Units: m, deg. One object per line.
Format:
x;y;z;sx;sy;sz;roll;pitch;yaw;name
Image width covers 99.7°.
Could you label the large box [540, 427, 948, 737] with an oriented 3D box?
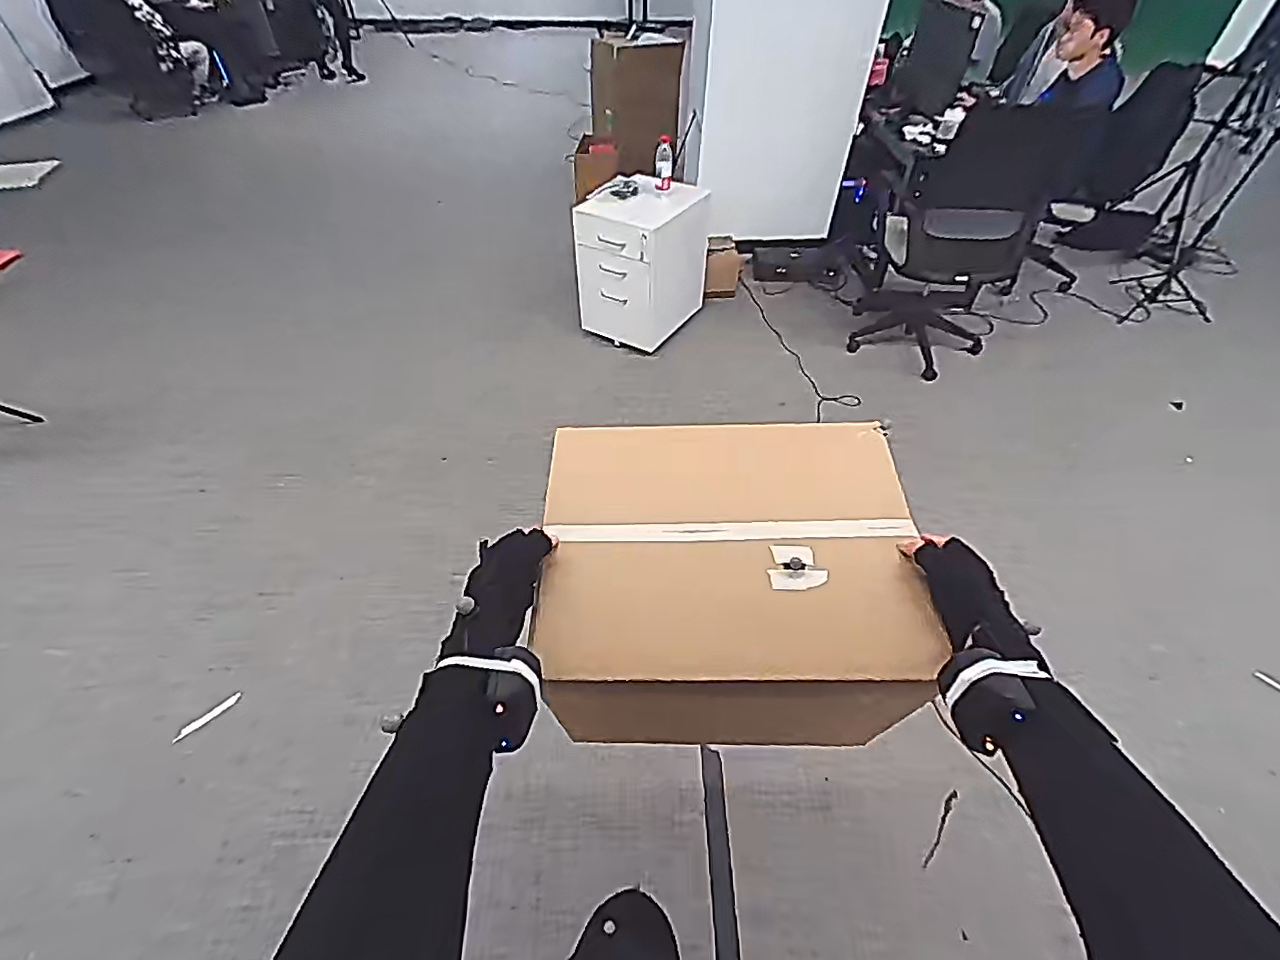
0.103;0.146;0.727;0.408;0.320;0.320;-1;54;2;large box
